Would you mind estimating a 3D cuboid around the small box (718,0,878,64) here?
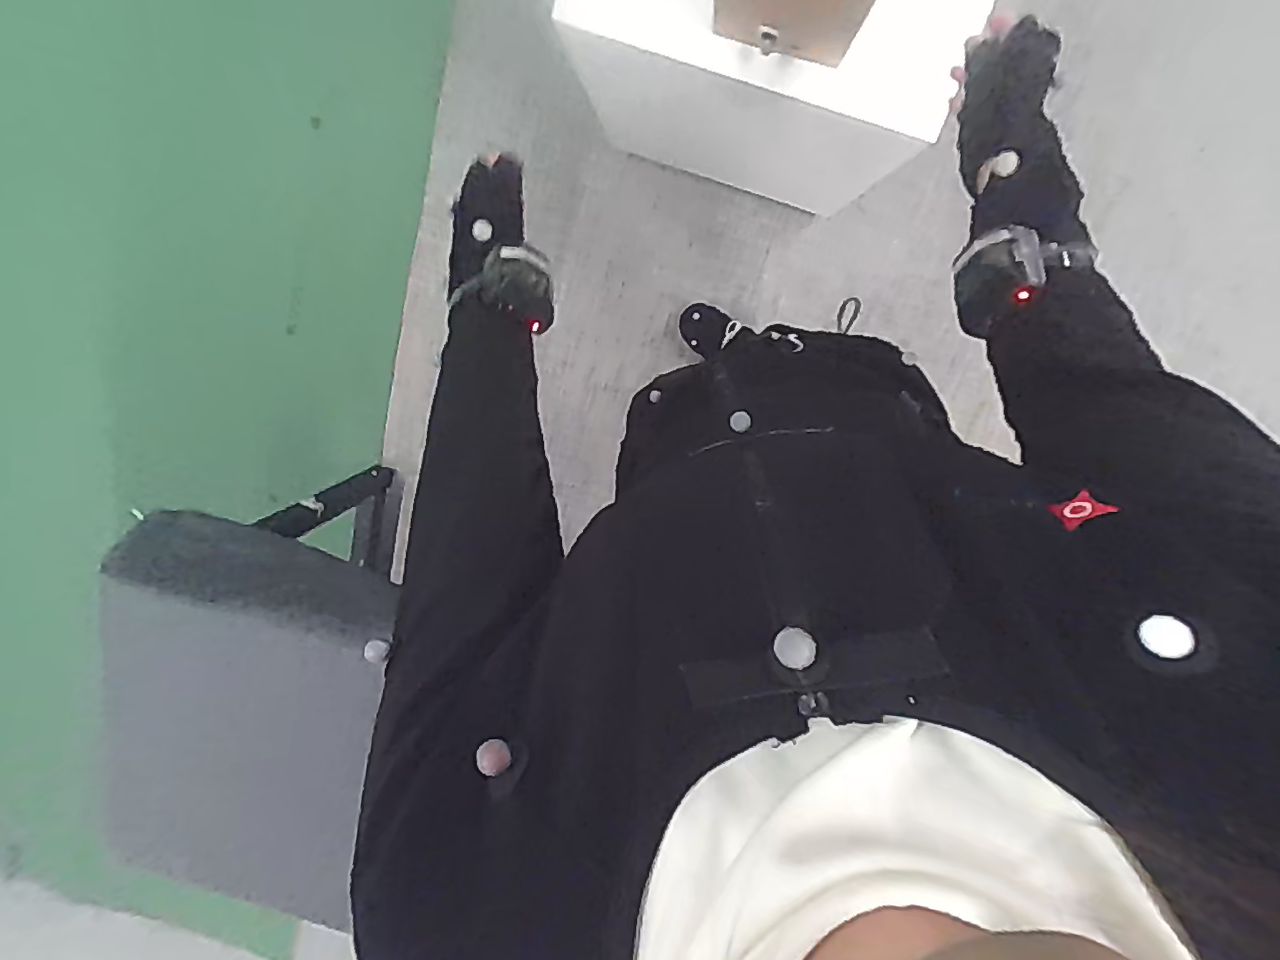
[{"bbox_3d":[0.179,-0.580,0.557,0.168,0.176,0.179,16,109,3],"label":"small box"}]
